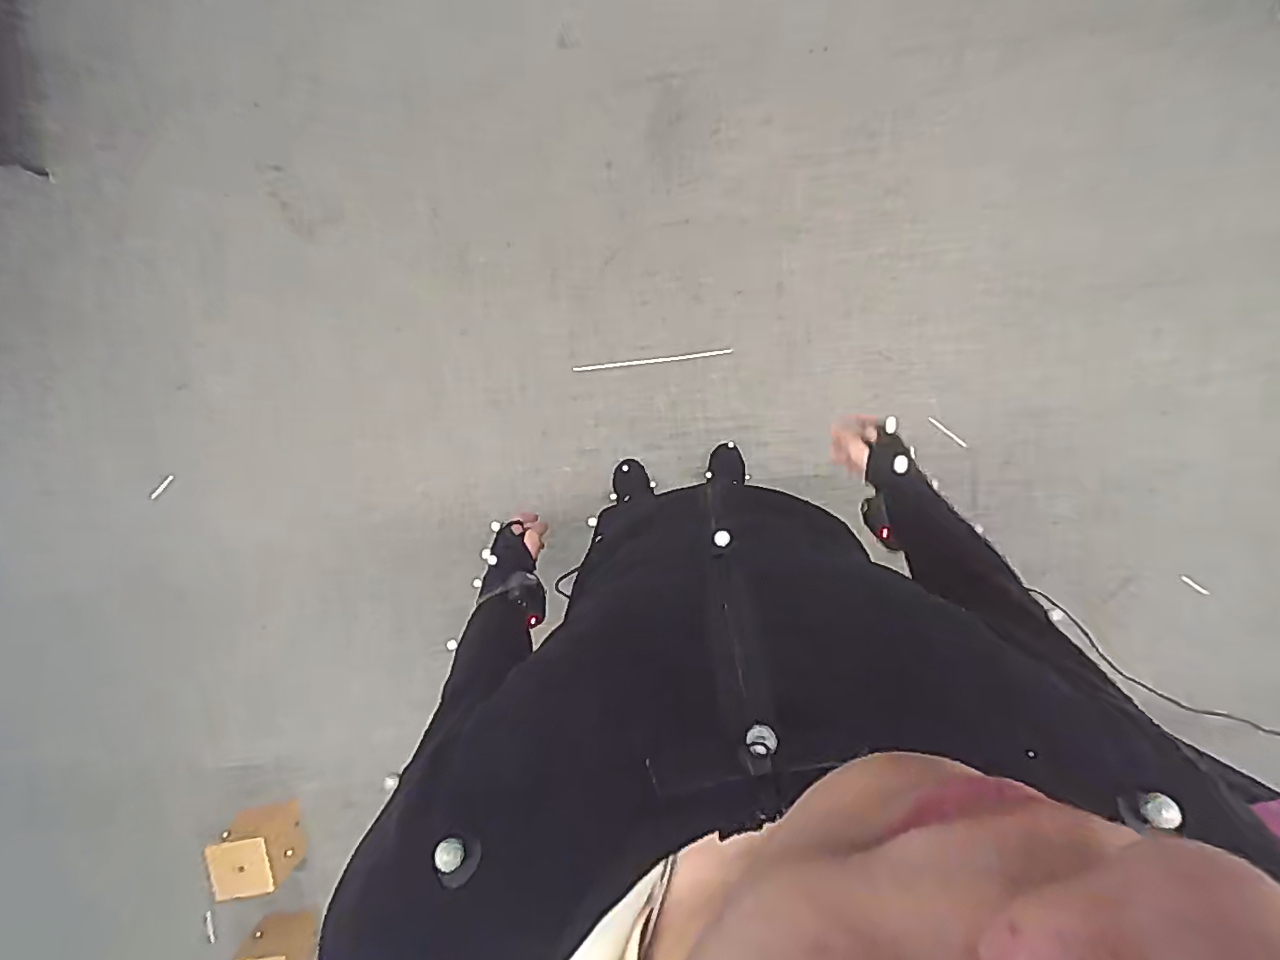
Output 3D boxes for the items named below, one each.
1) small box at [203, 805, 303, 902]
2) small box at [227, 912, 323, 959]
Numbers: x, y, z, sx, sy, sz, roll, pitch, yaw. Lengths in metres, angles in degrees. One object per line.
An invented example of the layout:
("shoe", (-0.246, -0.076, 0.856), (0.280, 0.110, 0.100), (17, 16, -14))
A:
("small box", (-1.143, 1.106, 1.617), (0.179, 0.176, 0.168), (-10, 92, 2))
("small box", (-1.097, 1.453, 1.629), (0.179, 0.176, 0.168), (-7, 92, 1))
